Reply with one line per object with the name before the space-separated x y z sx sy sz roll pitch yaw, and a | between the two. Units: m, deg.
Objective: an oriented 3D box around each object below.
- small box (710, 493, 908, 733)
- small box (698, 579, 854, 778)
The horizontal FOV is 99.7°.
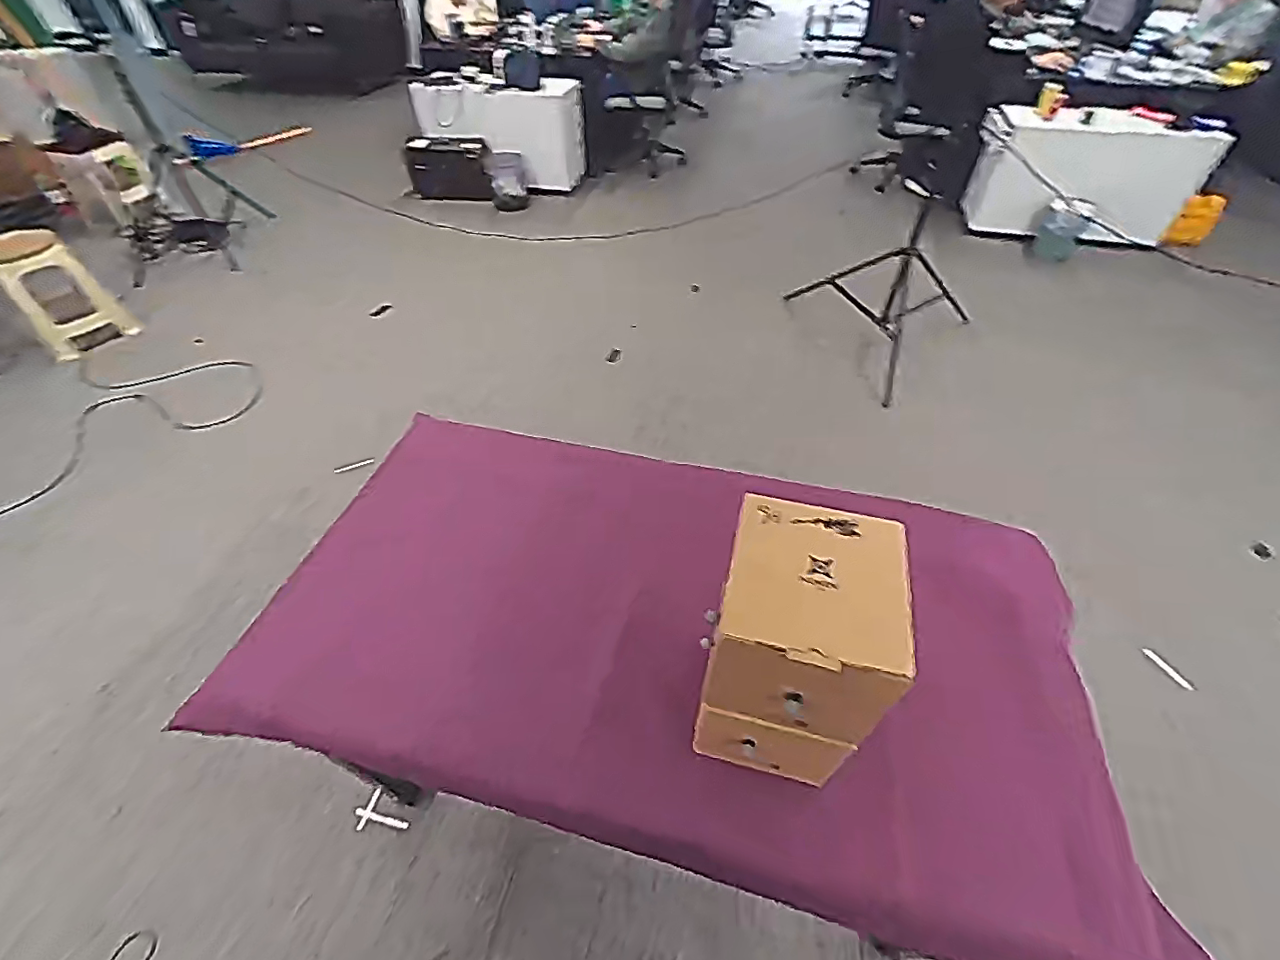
small box | 0.171 0.144 0.579 0.168 0.176 0.179 11 49 11
small box | 0.171 0.258 0.697 0.168 0.176 0.179 10 48 10
